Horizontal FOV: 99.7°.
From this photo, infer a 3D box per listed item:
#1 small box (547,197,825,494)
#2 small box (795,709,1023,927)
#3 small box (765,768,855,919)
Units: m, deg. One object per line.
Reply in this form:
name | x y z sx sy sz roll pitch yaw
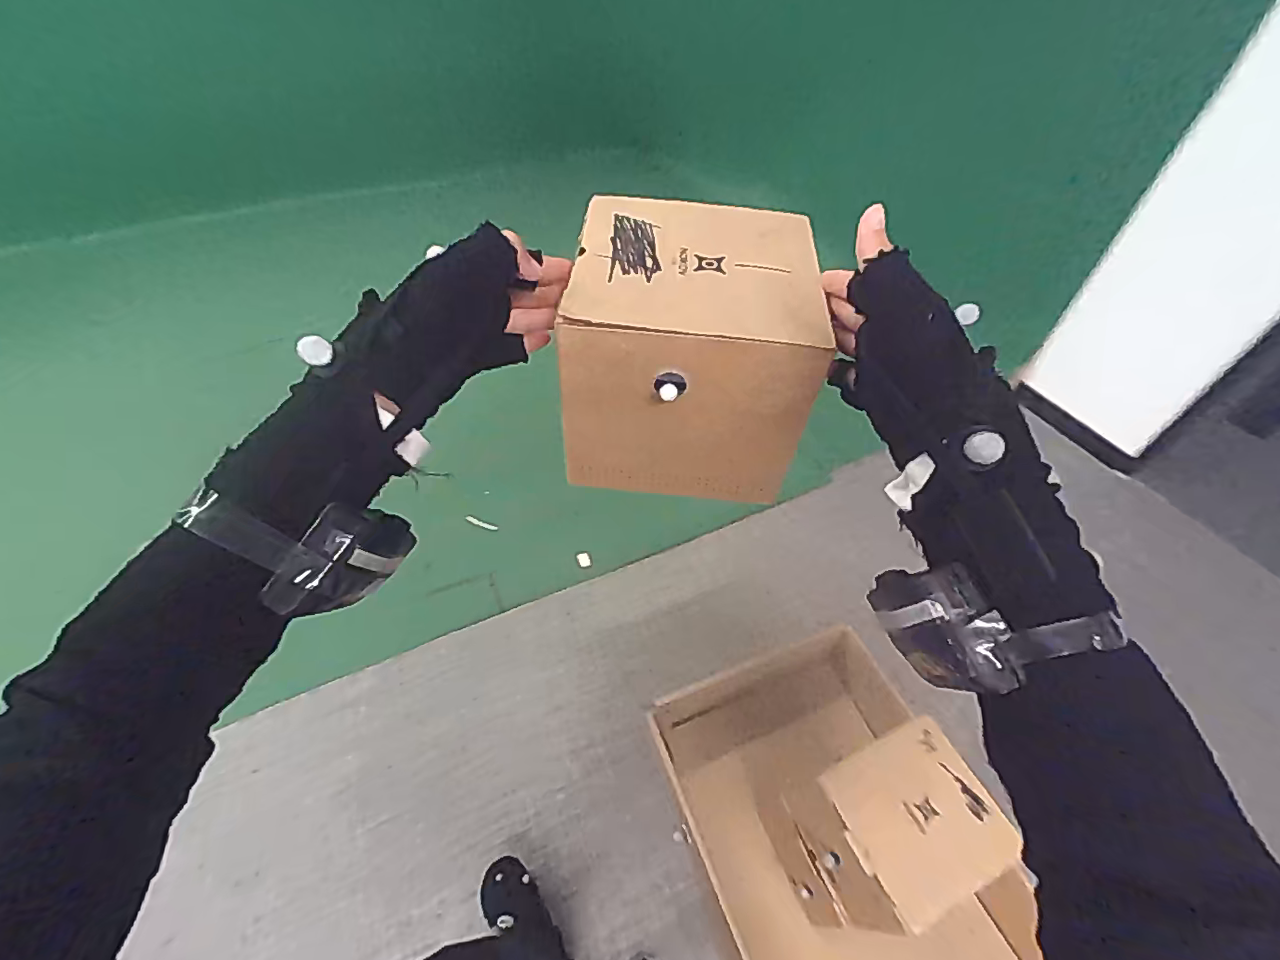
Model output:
small box | 0.031 -0.104 0.443 0.179 0.176 0.168 5 53 0
small box | 0.317 0.426 0.685 0.179 0.176 0.168 -20 56 -15
small box | 0.305 0.526 0.814 0.179 0.176 0.168 -16 55 -16
